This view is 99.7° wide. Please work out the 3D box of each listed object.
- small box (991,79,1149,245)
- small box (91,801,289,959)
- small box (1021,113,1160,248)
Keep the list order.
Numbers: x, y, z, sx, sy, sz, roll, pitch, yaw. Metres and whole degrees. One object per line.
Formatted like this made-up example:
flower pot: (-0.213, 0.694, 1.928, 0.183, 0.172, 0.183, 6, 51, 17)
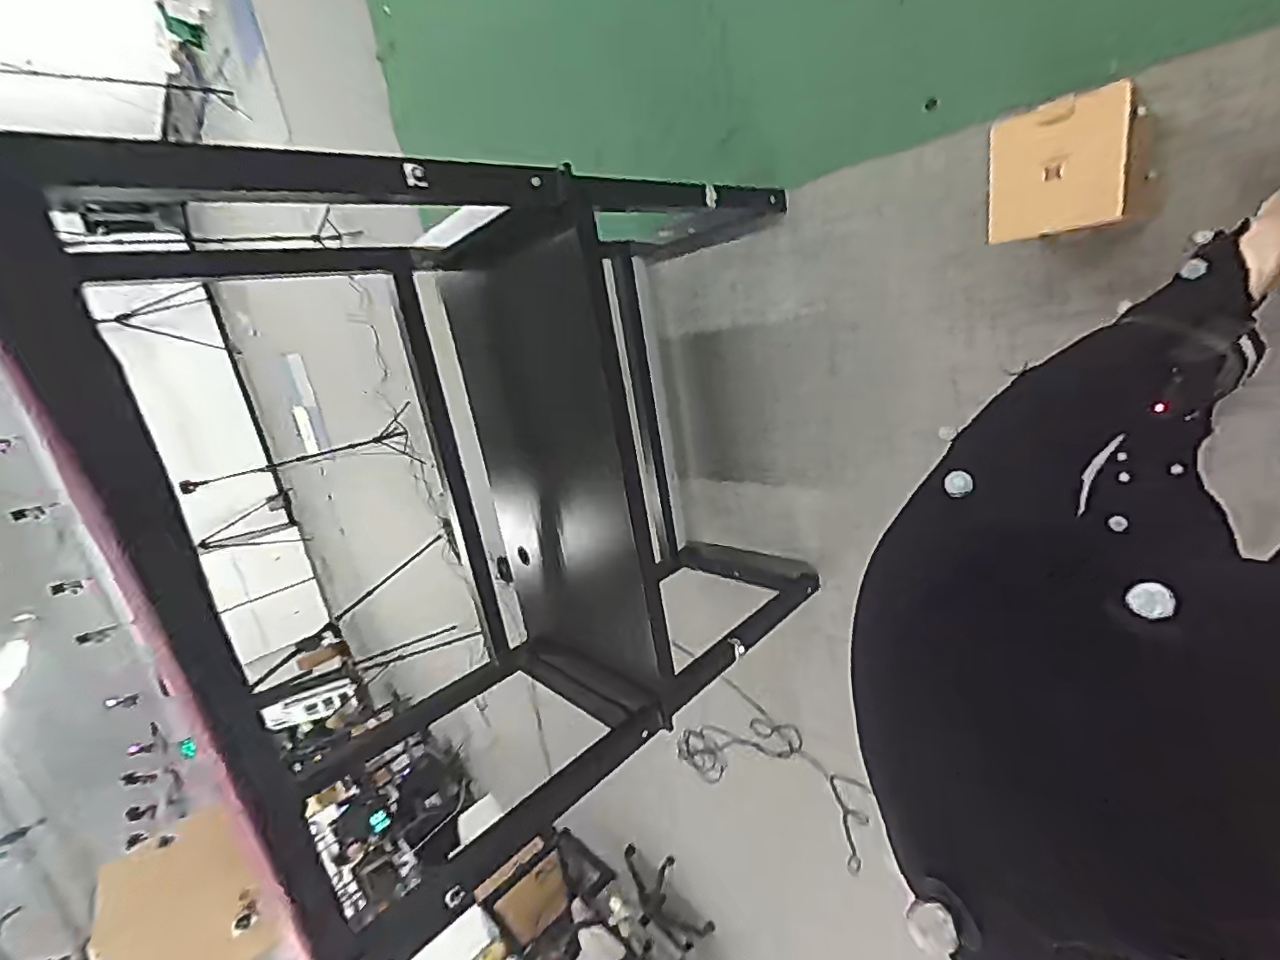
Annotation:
small box: (0.667, -0.478, 0.841, 0.168, 0.176, 0.179, 6, 111, 48)
small box: (-0.629, 0.602, 0.770, 0.179, 0.176, 0.168, 1, 109, 47)
small box: (0.786, -0.520, 0.945, 0.168, 0.176, 0.179, 5, 111, 48)
